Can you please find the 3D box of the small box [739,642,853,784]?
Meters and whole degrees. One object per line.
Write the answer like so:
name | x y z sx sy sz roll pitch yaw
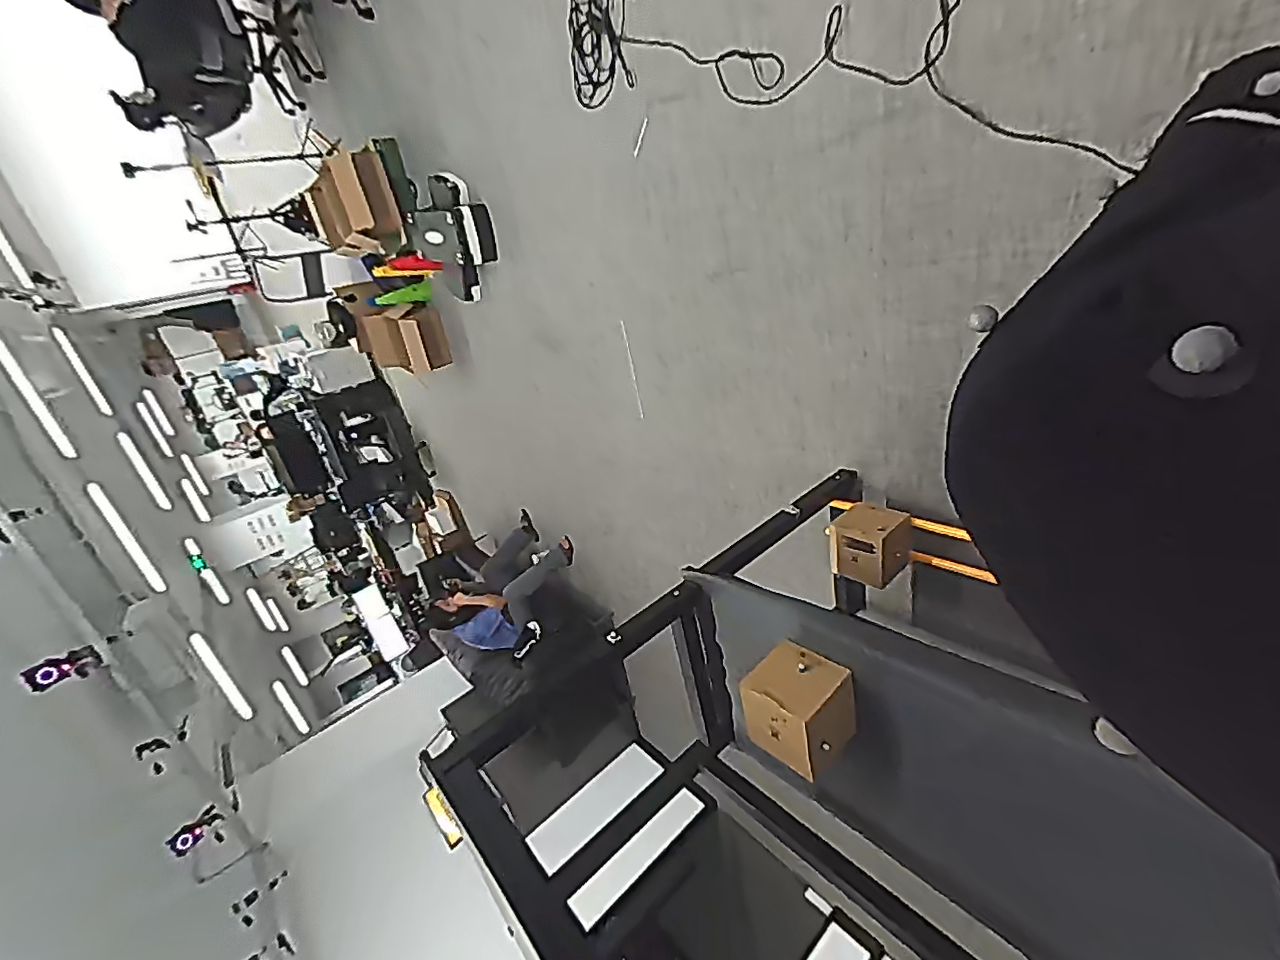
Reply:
small box | 0.335 0.484 1.146 0.168 0.176 0.179 15 126 48
